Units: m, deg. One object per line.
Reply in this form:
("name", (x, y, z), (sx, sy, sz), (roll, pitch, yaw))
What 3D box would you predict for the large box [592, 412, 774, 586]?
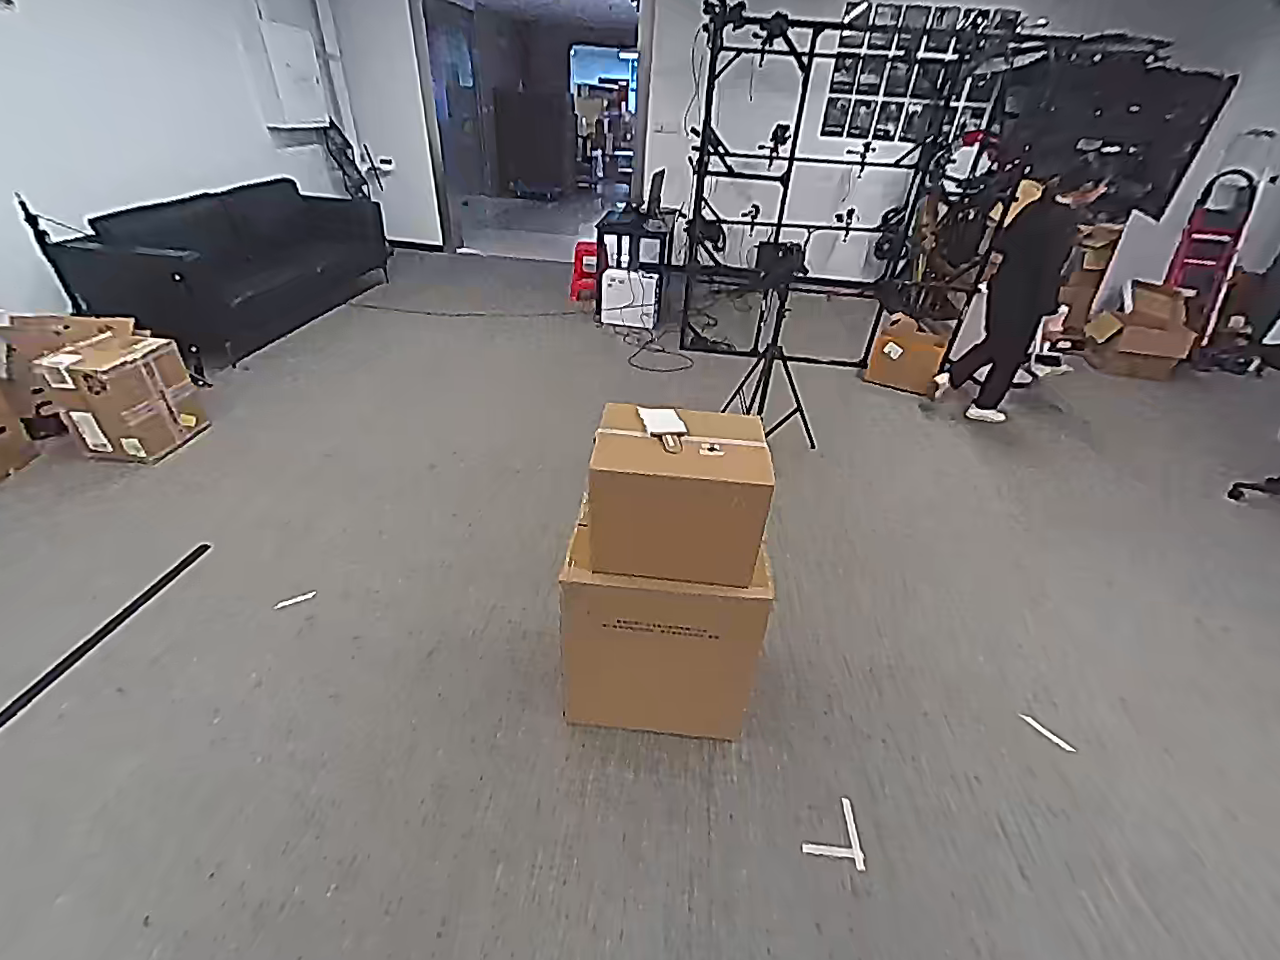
("large box", (0.094, 0.045, 1.381), (0.408, 0.320, 0.320), (6, 35, 1))
